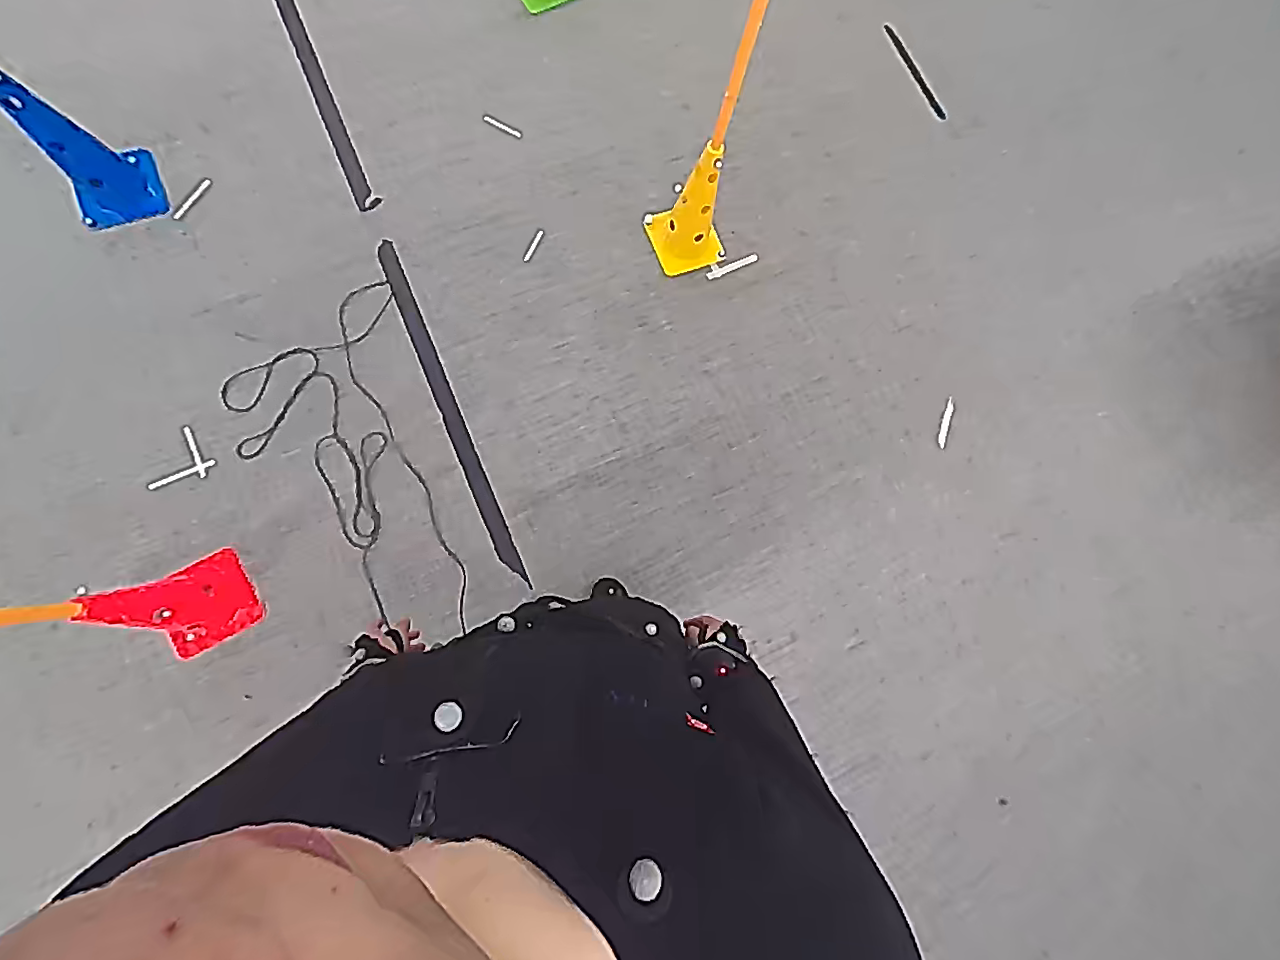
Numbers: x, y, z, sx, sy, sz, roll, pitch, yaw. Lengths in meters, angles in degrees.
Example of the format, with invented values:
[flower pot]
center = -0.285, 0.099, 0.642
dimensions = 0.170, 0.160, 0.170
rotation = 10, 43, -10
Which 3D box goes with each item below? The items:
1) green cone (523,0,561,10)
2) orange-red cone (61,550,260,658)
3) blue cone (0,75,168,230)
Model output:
[green cone]
center = -0.287, -1.612, 1.533
dimensions = 0.200, 0.368, 0.202
rotation = -34, 87, -12
[orange-red cone]
center = -0.990, 0.253, 1.092
dimensions = 0.199, 0.360, 0.198
rotation = -28, 84, -13
[blue cone]
center = -1.340, -0.788, 1.259
dimensions = 0.193, 0.380, 0.192
rotation = -20, 83, -10
